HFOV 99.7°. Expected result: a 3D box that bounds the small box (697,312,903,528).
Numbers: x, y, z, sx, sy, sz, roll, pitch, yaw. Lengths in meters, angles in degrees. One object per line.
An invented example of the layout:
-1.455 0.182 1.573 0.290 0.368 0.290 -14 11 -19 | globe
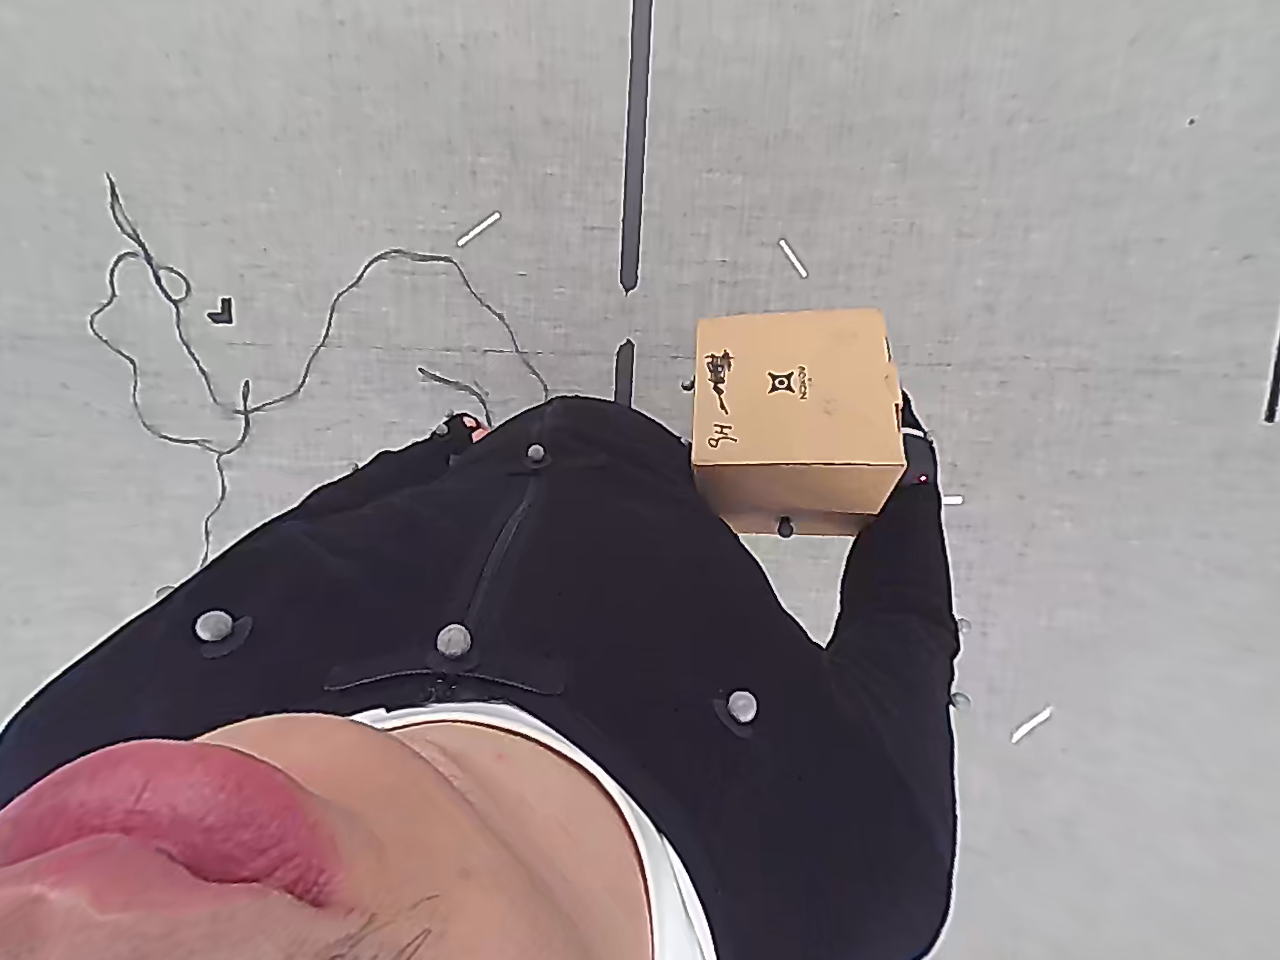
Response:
0.154 -0.055 0.570 0.179 0.176 0.168 1 64 10 | small box
